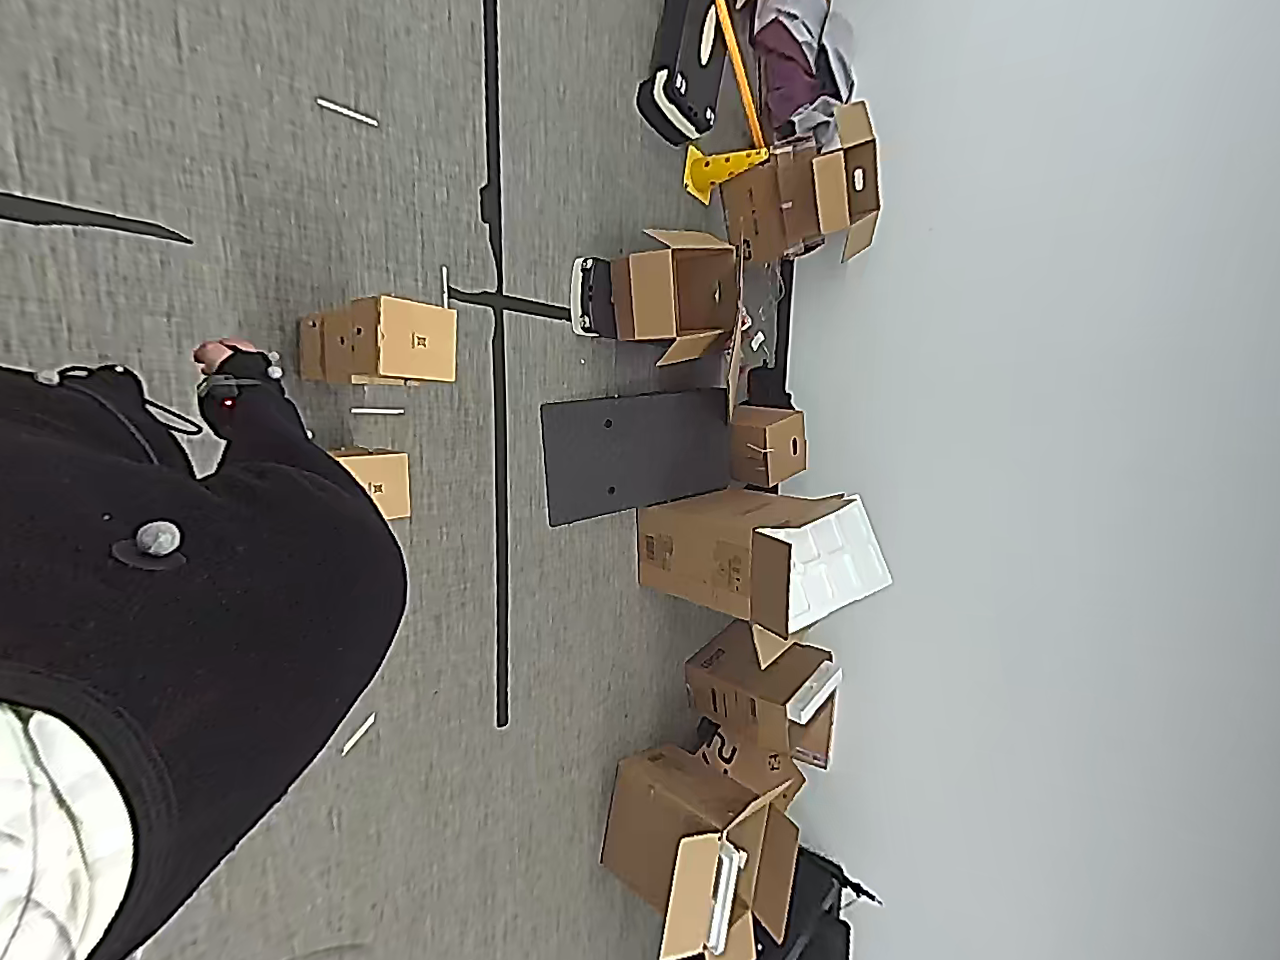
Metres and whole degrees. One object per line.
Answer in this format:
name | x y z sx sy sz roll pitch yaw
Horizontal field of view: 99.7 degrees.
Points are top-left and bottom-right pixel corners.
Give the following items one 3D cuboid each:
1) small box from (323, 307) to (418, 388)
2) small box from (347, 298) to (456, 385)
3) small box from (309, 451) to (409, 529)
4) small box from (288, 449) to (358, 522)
small box | -0.668 -0.321 1.337 0.168 0.176 0.179 -7 104 -47
small box | -0.543 -0.310 1.233 0.179 0.176 0.168 -4 101 -47
small box | -0.707 0.017 1.363 0.179 0.176 0.168 -8 102 -47
small box | -0.830 0.008 1.473 0.179 0.176 0.168 -10 103 -46
